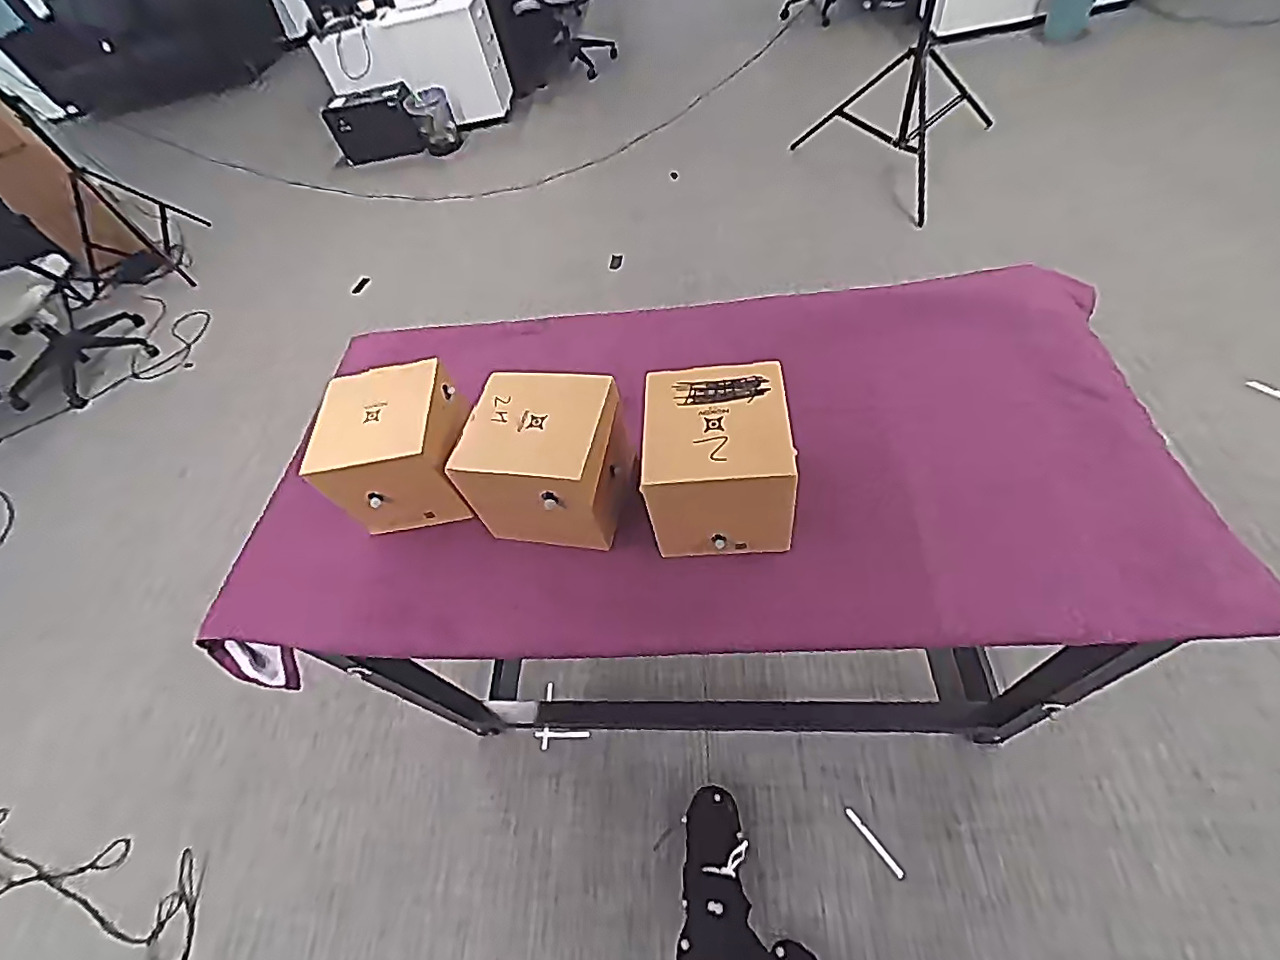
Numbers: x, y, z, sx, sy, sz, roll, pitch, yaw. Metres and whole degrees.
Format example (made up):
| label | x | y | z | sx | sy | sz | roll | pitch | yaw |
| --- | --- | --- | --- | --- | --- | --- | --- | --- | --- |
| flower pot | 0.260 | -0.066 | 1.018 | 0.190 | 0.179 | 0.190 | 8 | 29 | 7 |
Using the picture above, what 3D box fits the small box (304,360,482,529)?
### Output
| label | x | y | z | sx | sy | sz | roll | pitch | yaw |
| --- | --- | --- | --- | --- | --- | --- | --- | --- | --- |
| small box | -0.344 | -0.042 | 0.793 | 0.168 | 0.176 | 0.179 | -11 | 54 | 4 |
